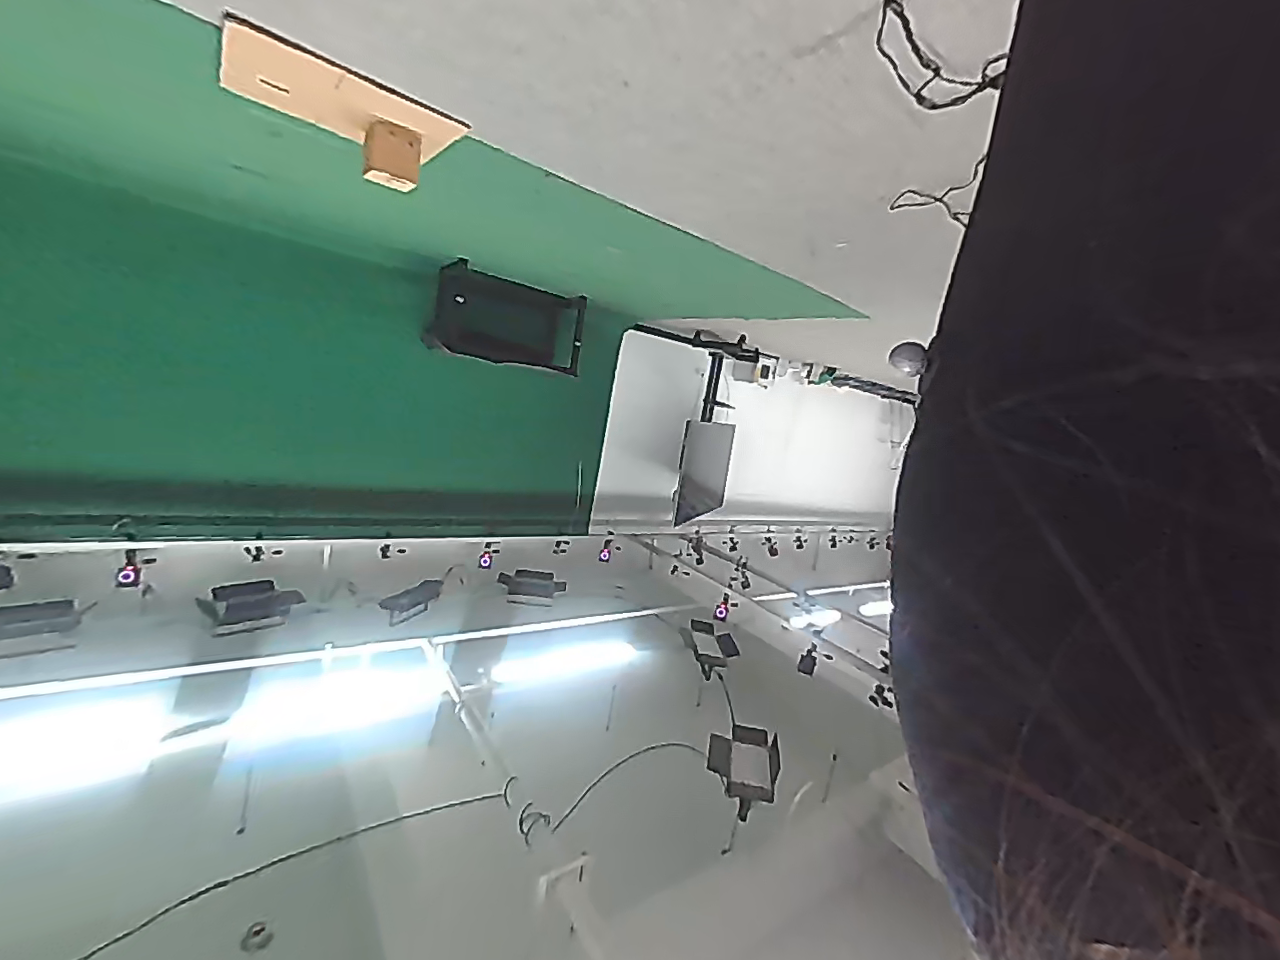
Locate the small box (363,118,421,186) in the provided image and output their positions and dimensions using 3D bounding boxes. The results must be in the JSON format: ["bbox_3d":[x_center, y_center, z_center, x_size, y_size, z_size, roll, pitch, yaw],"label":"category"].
[{"bbox_3d":[-0.957,-1.266,2.088,0.168,0.176,0.179,2,-167,-40],"label":"small box"}]
